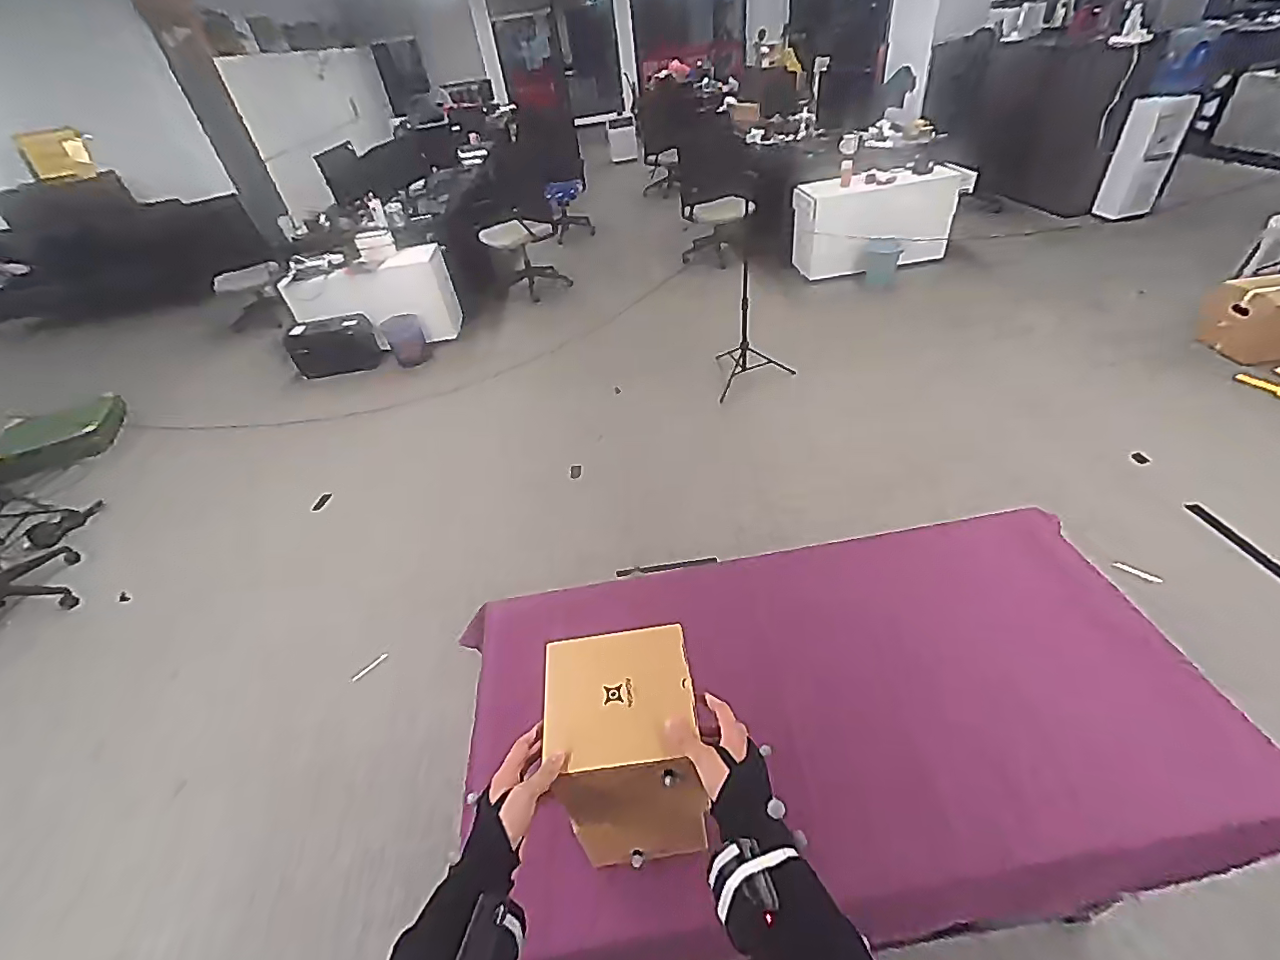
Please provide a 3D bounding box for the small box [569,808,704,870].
[{"bbox_3d":[-0.004,0.431,0.783,0.168,0.176,0.179,-9,41,1],"label":"small box"}]

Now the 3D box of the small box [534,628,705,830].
[{"bbox_3d":[-0.021,0.311,0.673,0.179,0.176,0.168,-8,41,1],"label":"small box"}]
